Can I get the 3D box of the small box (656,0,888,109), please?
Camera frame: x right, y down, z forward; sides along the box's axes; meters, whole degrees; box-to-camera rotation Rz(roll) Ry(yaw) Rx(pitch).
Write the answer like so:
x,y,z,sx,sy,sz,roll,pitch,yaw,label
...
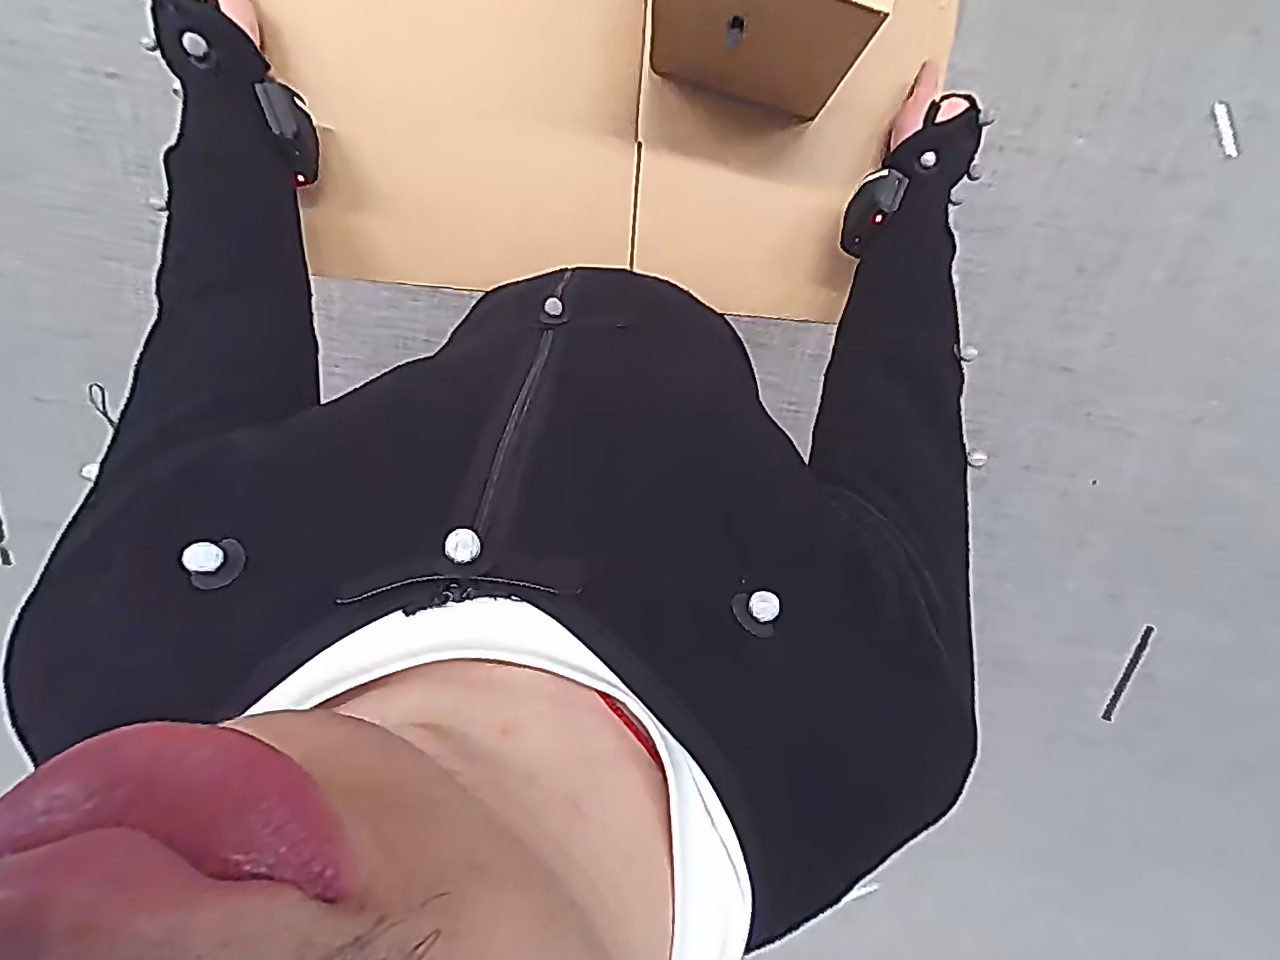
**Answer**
x,y,z,sx,sy,sz,roll,pitch,yaw,label
0.115,-0.447,0.446,0.179,0.176,0.168,15,102,-2,small box
